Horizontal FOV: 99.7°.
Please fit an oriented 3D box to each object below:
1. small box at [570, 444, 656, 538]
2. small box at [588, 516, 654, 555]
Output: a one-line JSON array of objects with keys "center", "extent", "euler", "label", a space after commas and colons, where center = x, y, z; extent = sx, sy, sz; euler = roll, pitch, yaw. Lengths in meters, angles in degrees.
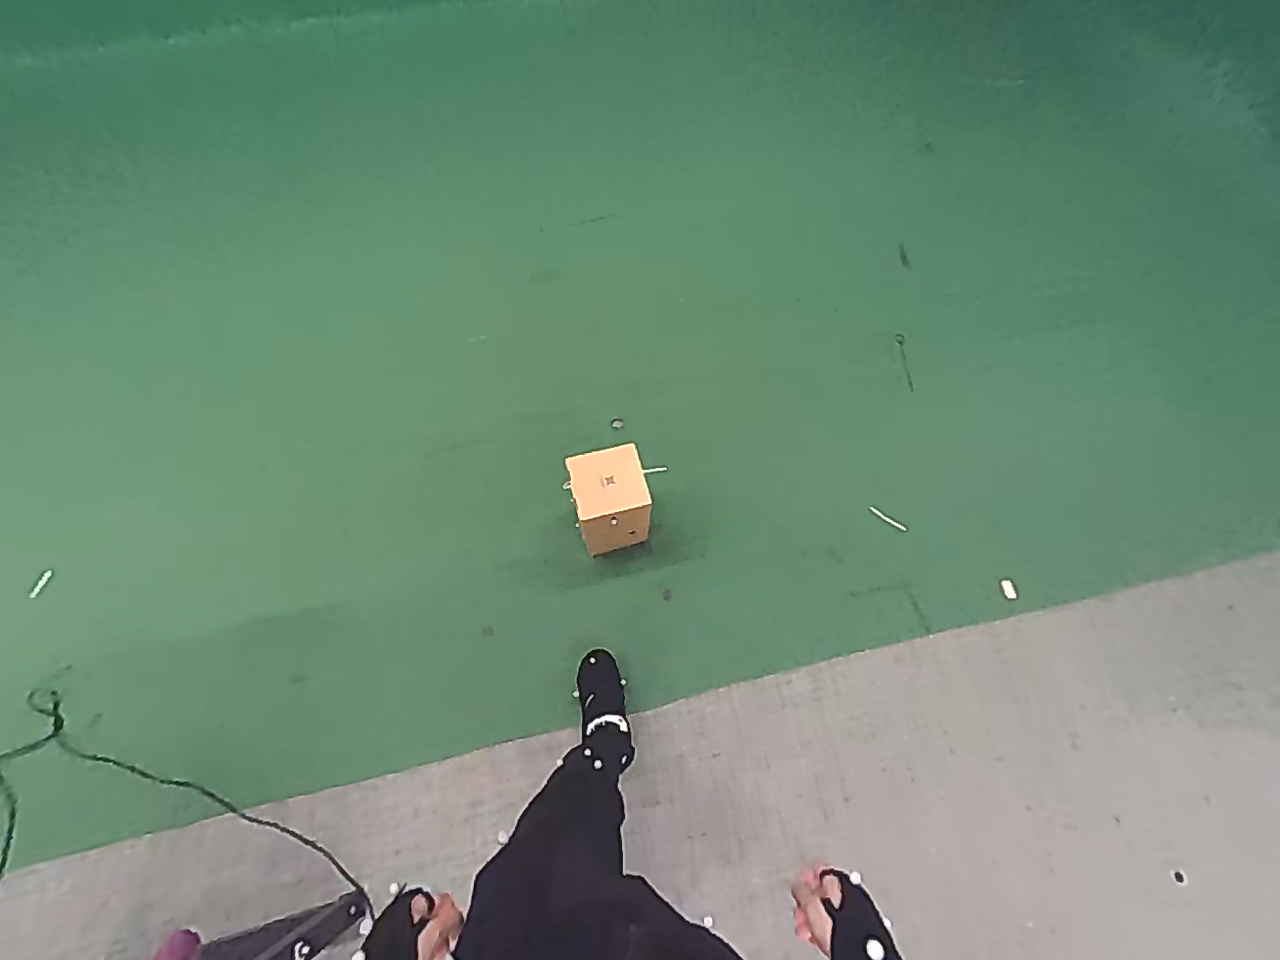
[{"center": [-0.068, 0.033, 1.361], "extent": [0.179, 0.176, 0.168], "euler": [-14, 69, -6], "label": "small box"}, {"center": [-0.071, 0.094, 1.512], "extent": [0.179, 0.176, 0.168], "euler": [-15, 69, -7], "label": "small box"}]
